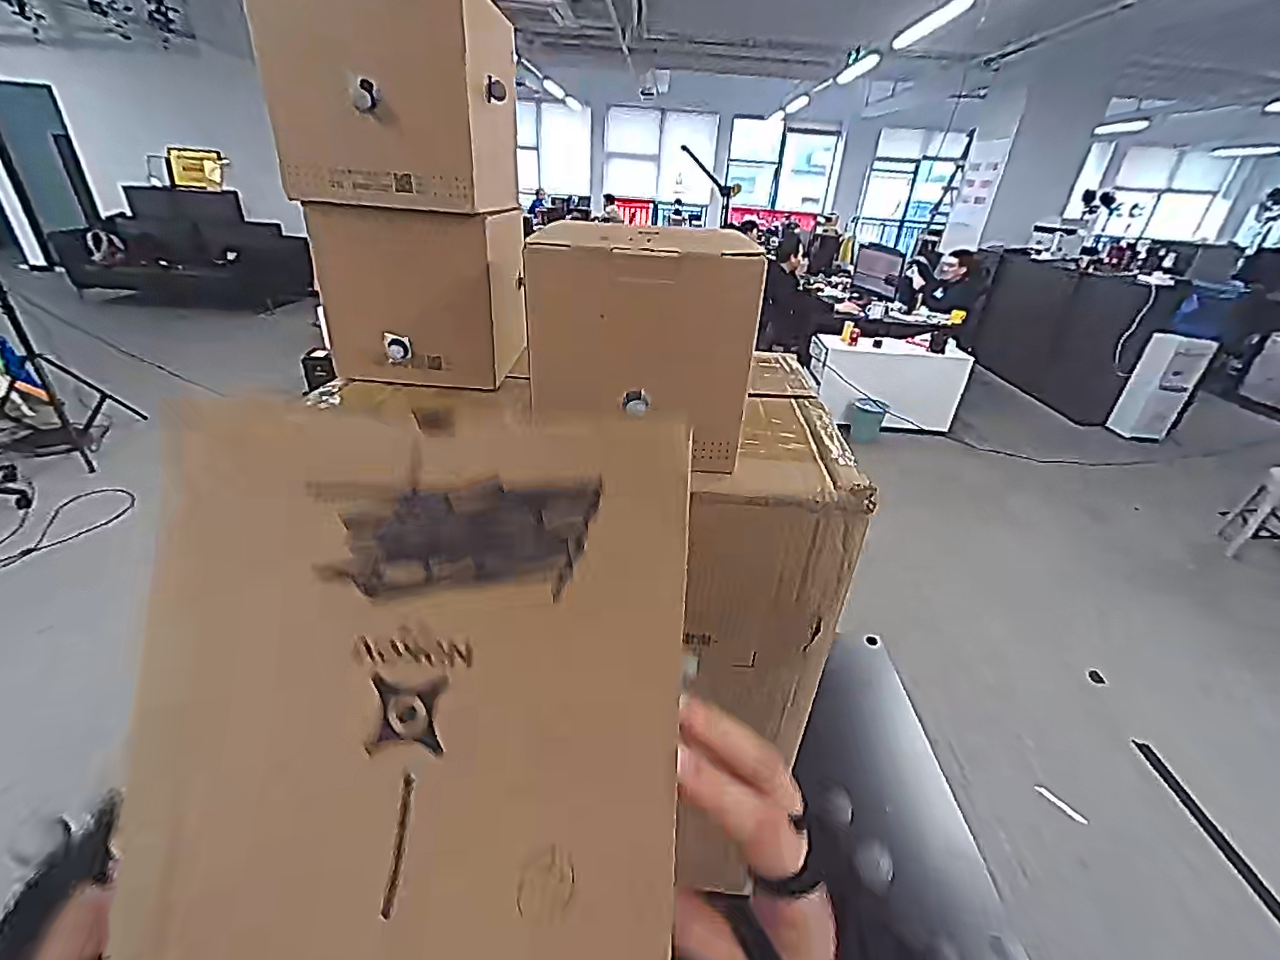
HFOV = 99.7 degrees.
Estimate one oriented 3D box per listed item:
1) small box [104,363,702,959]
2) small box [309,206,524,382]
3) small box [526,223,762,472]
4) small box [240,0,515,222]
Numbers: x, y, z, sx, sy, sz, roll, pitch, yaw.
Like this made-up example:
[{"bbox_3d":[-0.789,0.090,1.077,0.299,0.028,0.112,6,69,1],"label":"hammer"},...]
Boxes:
[{"bbox_3d":[-0.069,0.060,0.242,0.168,0.179,0.176,2,-4,-2],"label":"small box"},{"bbox_3d":[-0.223,-0.205,0.596,0.168,0.176,0.179,2,30,-2],"label":"small box"},{"bbox_3d":[0.001,-0.124,0.477,0.168,0.176,0.179,2,30,0],"label":"small box"},{"bbox_3d":[-0.216,-0.341,0.504,0.168,0.176,0.179,3,29,-1],"label":"small box"}]
